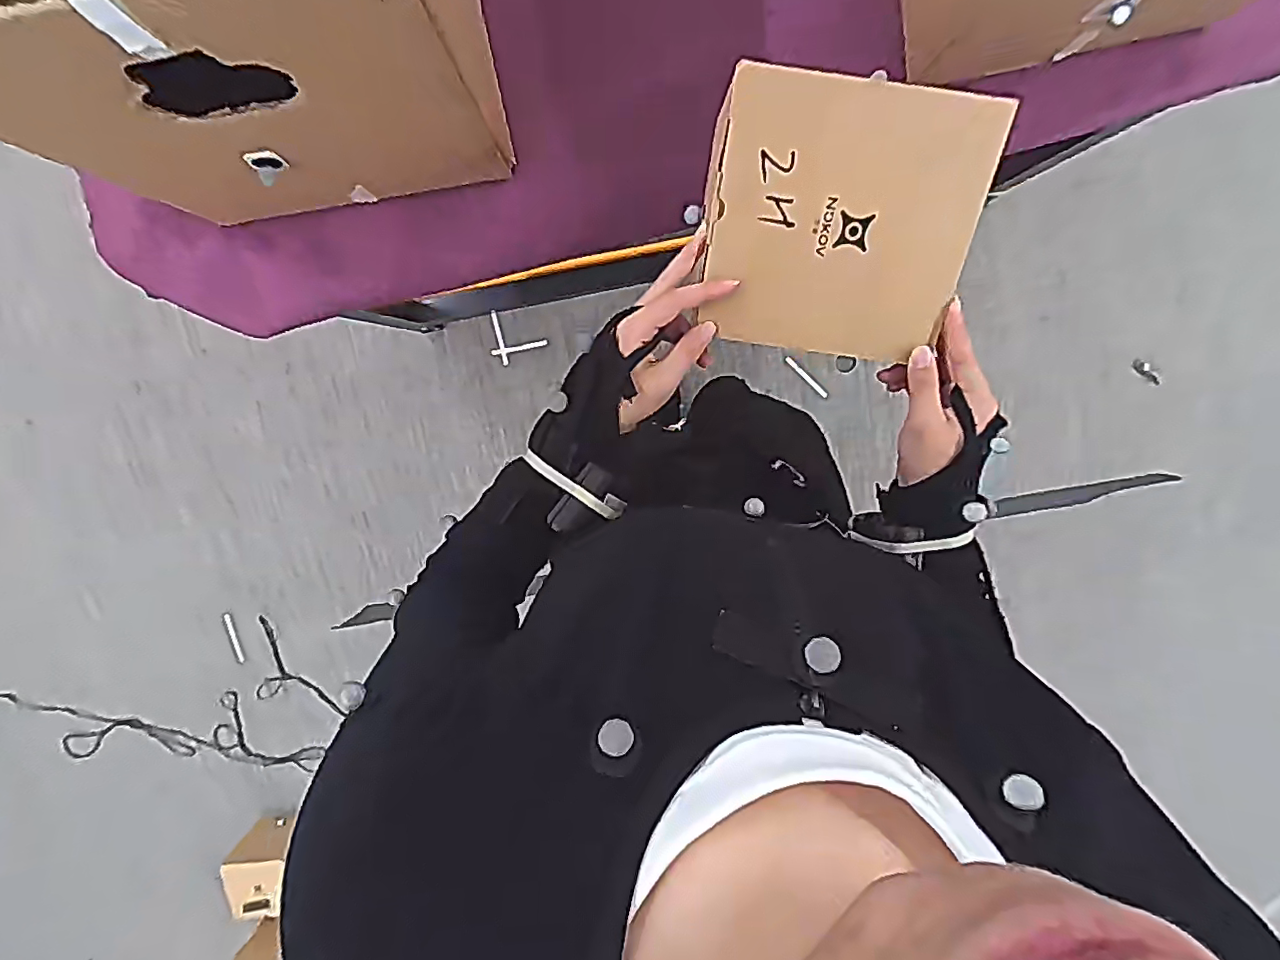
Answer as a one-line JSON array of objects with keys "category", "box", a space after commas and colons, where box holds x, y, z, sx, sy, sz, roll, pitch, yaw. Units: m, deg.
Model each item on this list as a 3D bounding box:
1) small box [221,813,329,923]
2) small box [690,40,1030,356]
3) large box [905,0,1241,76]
[{"category": "small box", "box": [-0.976, 1.043, 1.463, 0.168, 0.176, 0.179, -5, 101, 0]}, {"category": "small box", "box": [0.140, -0.205, 0.424, 0.179, 0.176, 0.168, 8, 113, 0]}, {"category": "large box", "box": [0.382, -0.588, 0.357, 0.320, 0.320, 0.408, -12, 99, 1]}]
